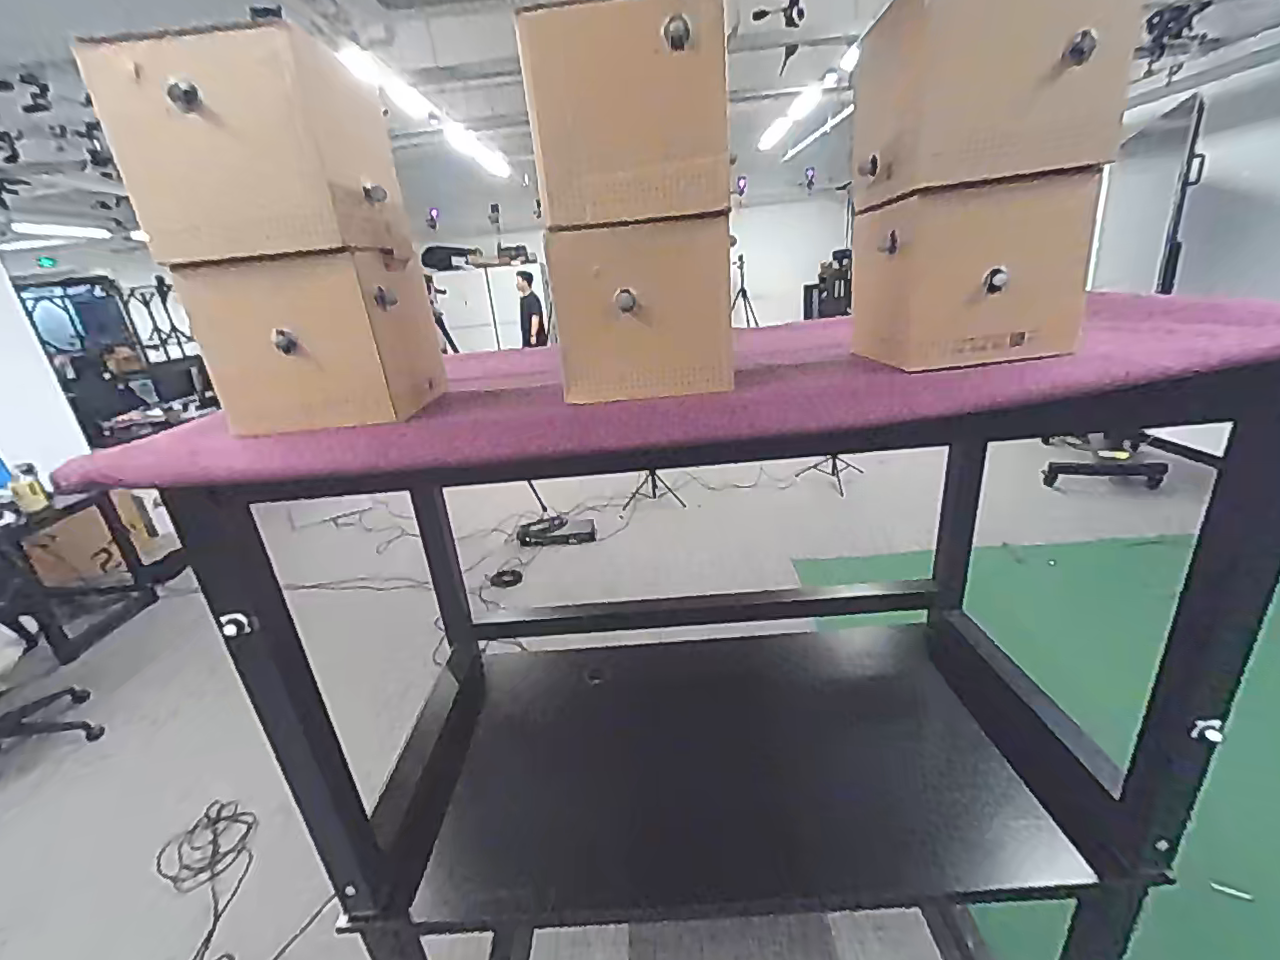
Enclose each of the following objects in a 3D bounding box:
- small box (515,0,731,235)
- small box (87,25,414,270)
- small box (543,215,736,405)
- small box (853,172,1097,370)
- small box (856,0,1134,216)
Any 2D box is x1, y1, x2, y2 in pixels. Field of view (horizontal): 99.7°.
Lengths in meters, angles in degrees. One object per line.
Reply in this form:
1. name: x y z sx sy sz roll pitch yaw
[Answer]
1. small box: -0.005 -0.335 0.538 0.179 0.176 0.168 -2 21 5
2. small box: -0.352 -0.301 0.531 0.179 0.176 0.168 -4 21 1
3. small box: 0.006 -0.184 0.600 0.179 0.176 0.168 -5 21 3
4. small box: 0.345 -0.218 0.595 0.168 0.176 0.179 -5 19 4
5. small box: 0.324 -0.365 0.528 0.179 0.176 0.168 -7 18 4
